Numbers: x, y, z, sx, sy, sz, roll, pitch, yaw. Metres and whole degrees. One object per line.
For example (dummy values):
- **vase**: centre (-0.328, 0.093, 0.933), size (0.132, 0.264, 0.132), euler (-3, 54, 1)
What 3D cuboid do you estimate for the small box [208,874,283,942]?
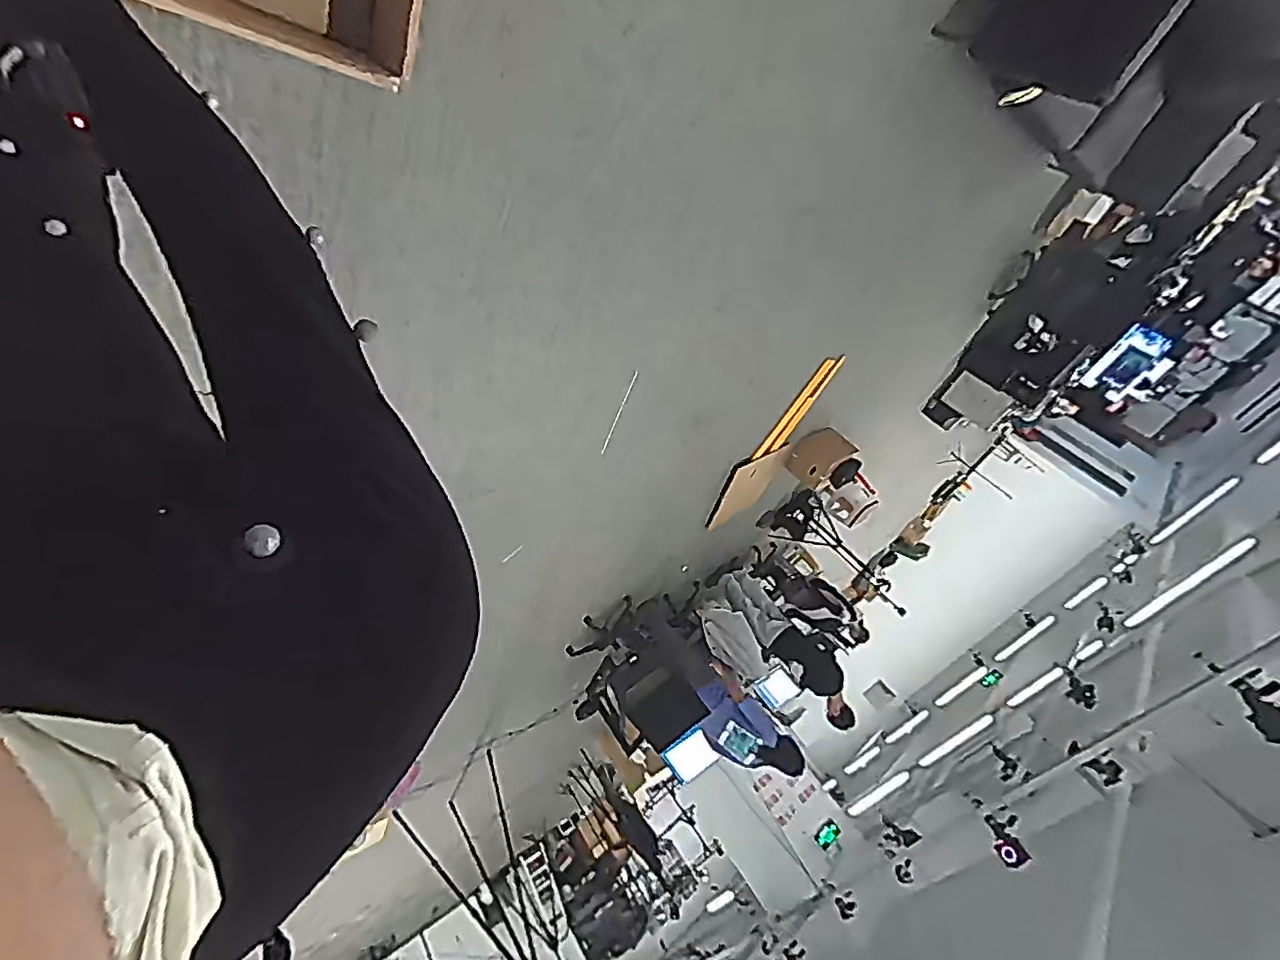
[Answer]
- **small box**: centre (-1.152, 1.170, 1.563), size (0.168, 0.176, 0.179), euler (-13, 141, -43)

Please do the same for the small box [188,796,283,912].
- **small box**: centre (-1.045, 0.961, 1.401), size (0.168, 0.176, 0.179), euler (-14, 142, -43)

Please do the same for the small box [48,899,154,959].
- **small box**: centre (-1.355, 1.212, 1.367), size (0.168, 0.176, 0.179), euler (-15, 141, -43)

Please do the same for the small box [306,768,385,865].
- **small box**: centre (-0.913, 1.032, 1.668), size (0.168, 0.176, 0.179), euler (-13, 141, -45)
